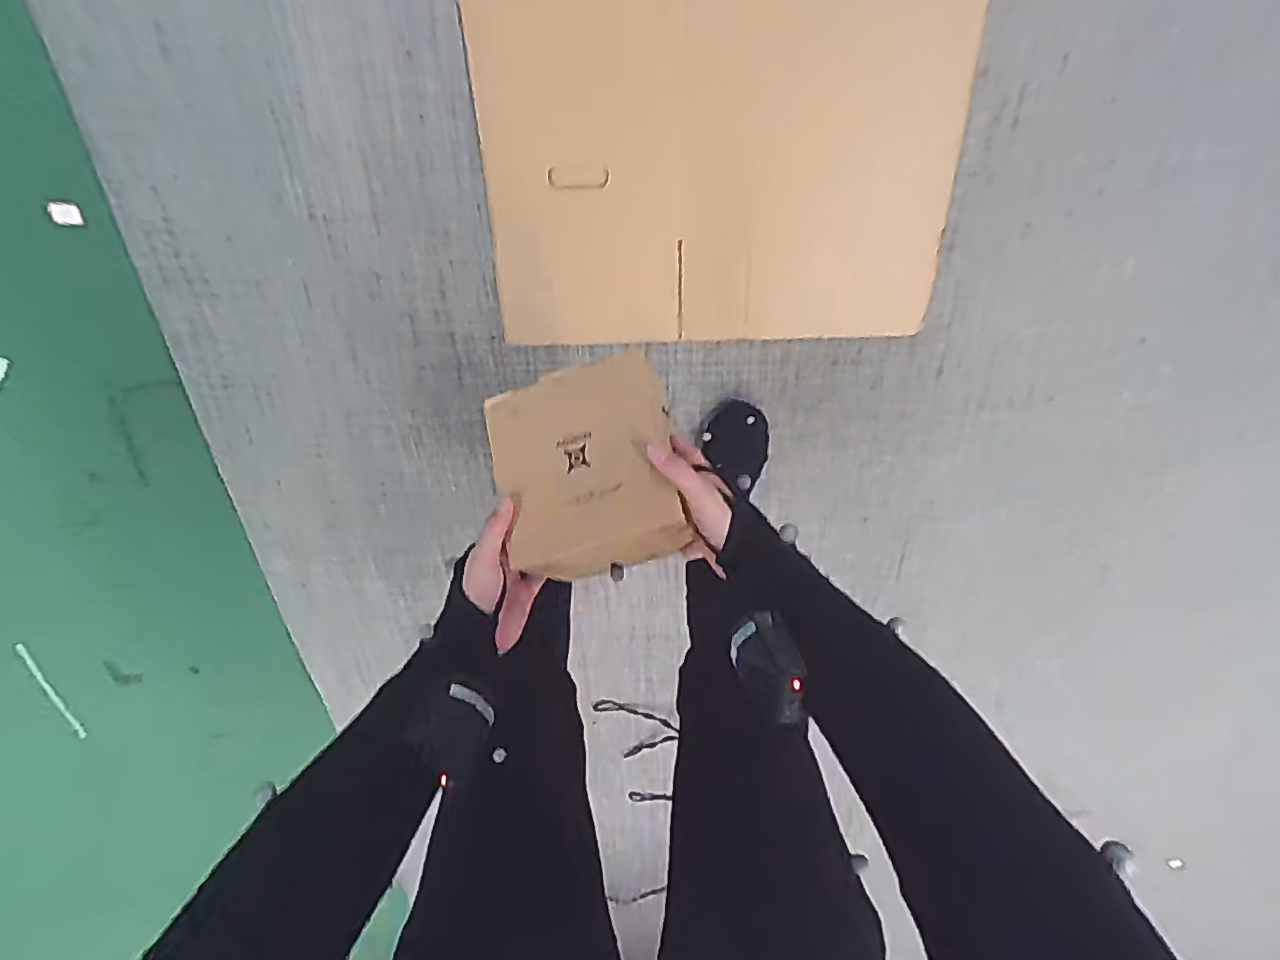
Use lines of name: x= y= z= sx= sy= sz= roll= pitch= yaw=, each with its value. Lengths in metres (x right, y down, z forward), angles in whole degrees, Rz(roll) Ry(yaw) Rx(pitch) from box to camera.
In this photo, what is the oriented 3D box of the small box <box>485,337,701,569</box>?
small box: x=-0.041 y=-0.015 z=0.574 sx=0.168 sy=0.176 sz=0.179 roll=-17 pitch=72 yaw=10
